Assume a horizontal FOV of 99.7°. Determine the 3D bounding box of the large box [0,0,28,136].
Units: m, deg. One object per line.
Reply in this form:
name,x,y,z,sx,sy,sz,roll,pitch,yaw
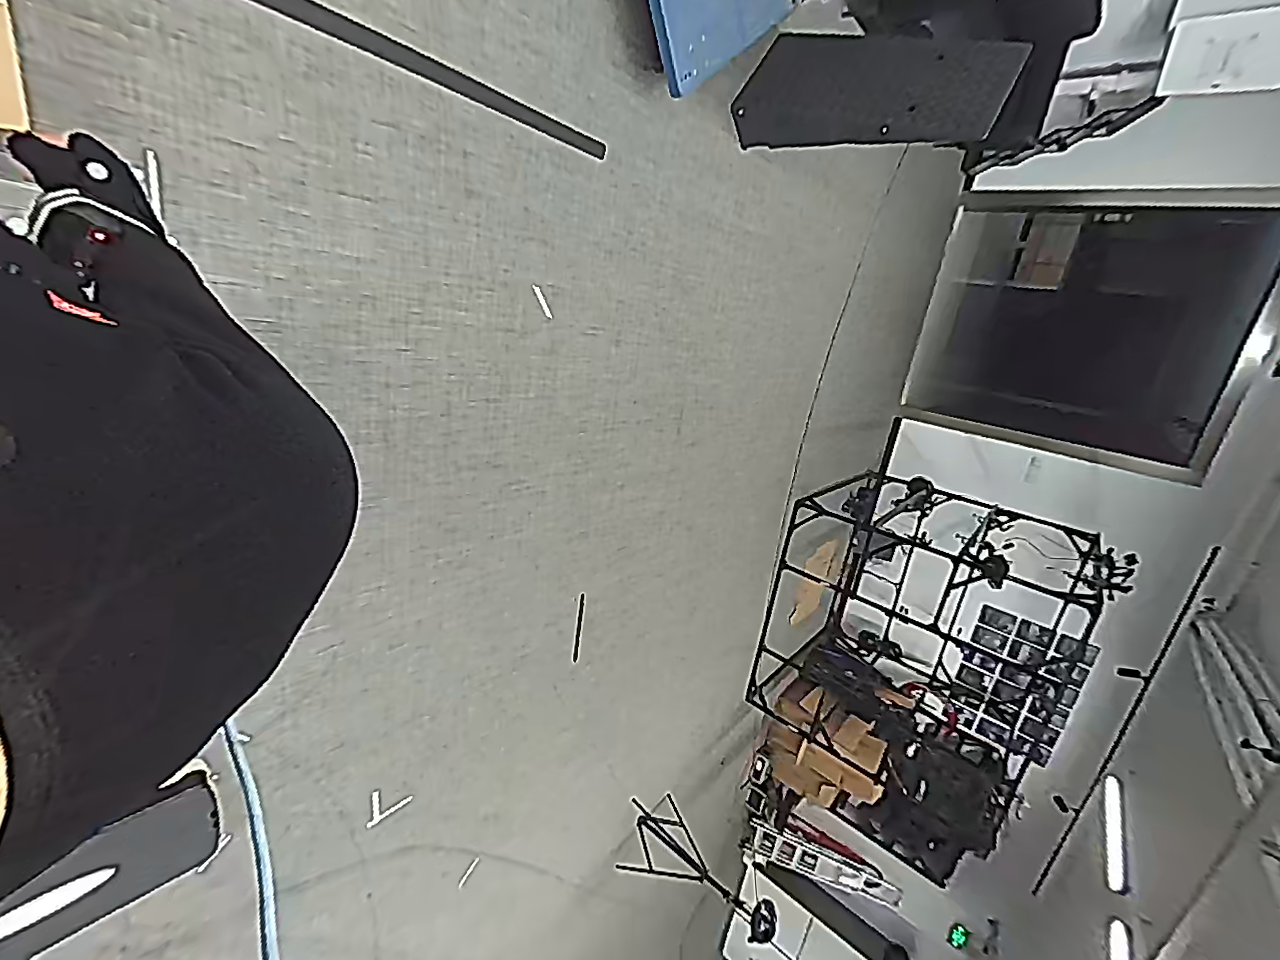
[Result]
large box,-1.061,-0.634,0.625,0.408,0.320,0.320,-16,121,-51
